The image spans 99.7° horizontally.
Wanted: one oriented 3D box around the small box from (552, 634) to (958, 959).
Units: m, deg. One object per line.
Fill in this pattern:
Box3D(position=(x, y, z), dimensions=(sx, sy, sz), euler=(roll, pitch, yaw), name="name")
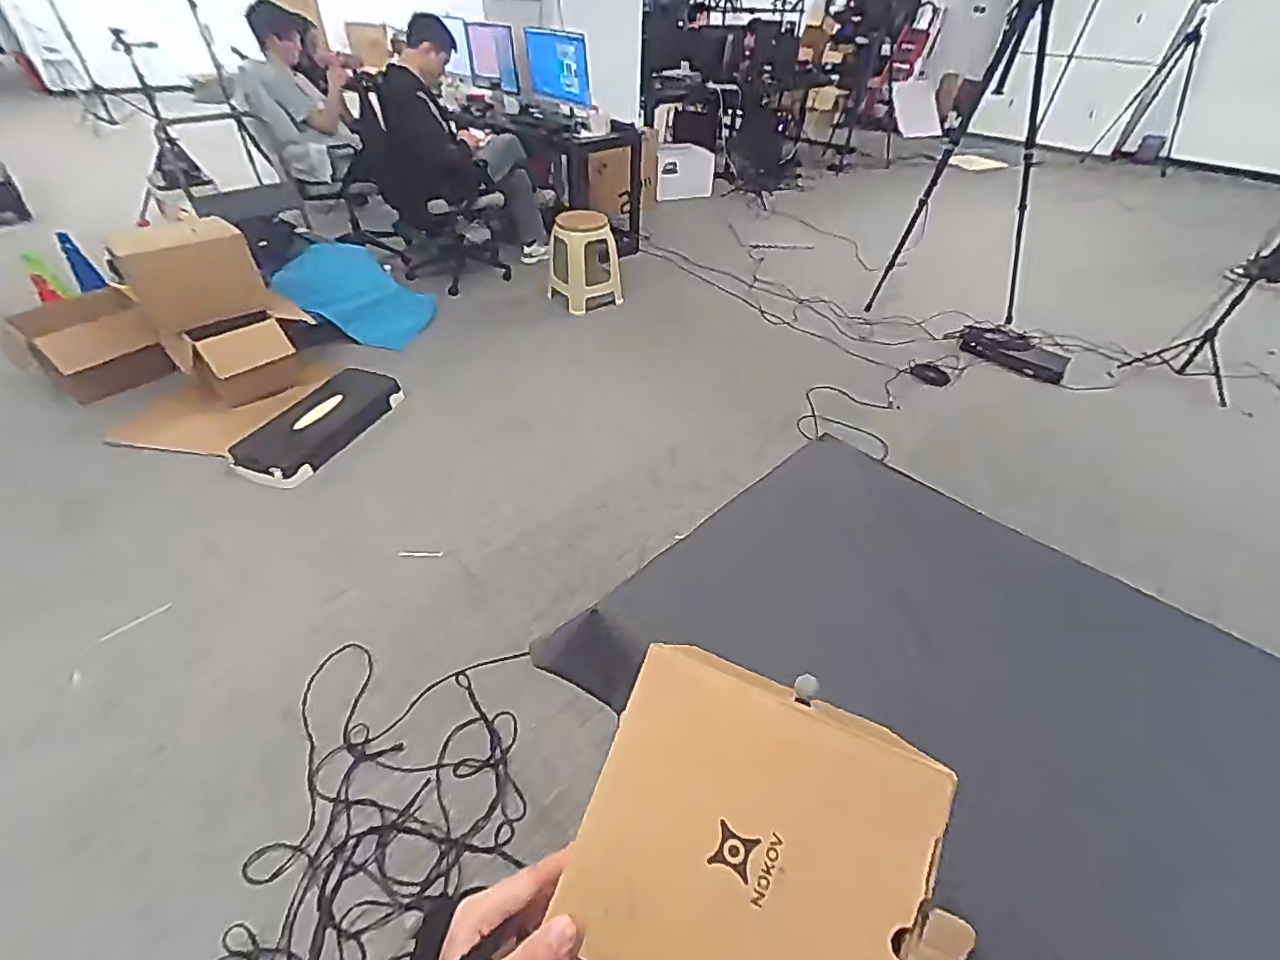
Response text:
Box3D(position=(0.074, 0.219, 0.363), dimensions=(0.179, 0.176, 0.168), euler=(18, 76, 17), name="small box")
